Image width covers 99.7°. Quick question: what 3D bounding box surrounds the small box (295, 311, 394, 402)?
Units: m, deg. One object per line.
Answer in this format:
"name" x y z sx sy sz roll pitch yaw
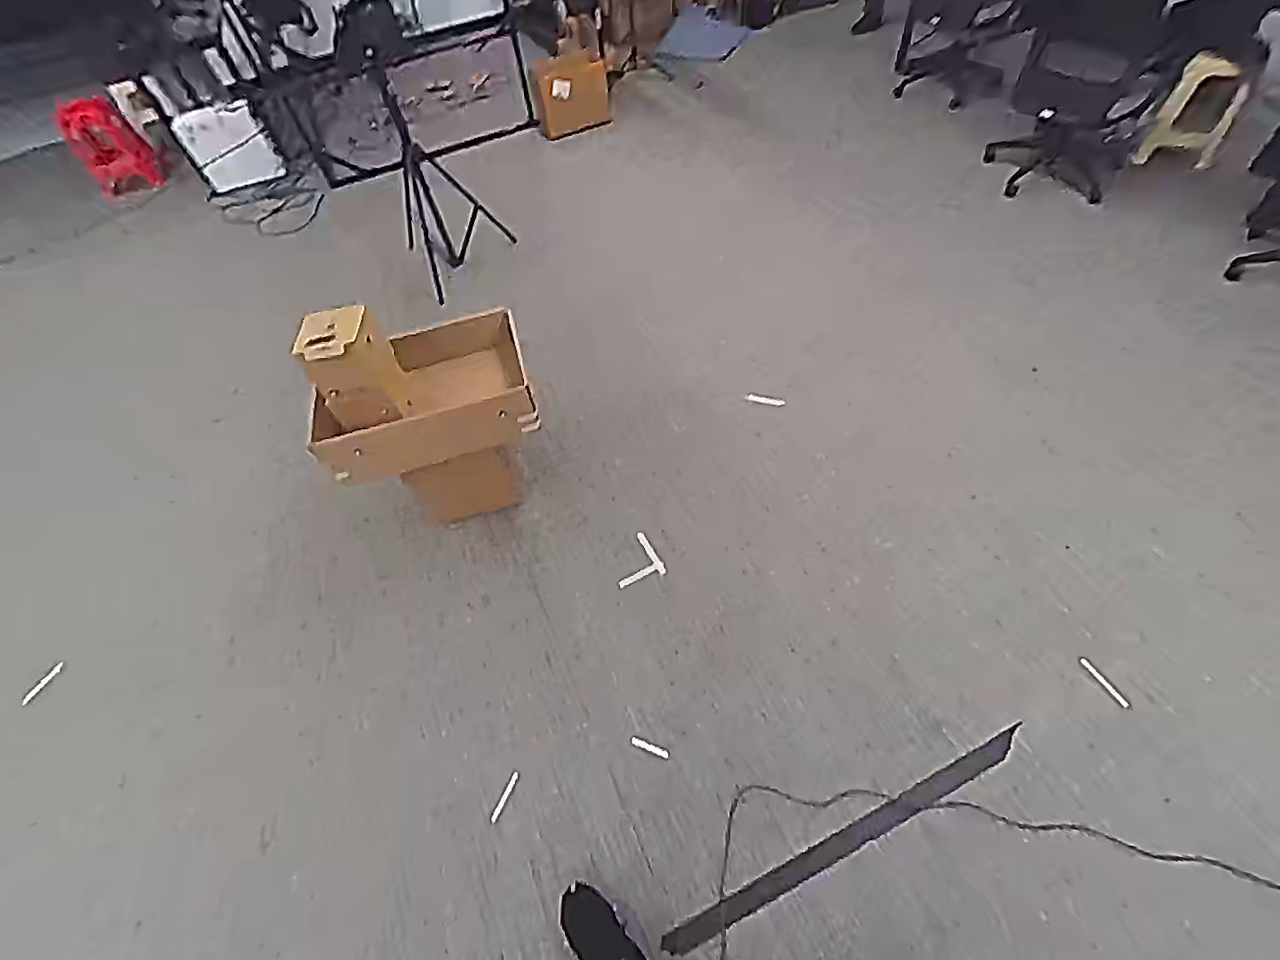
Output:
"small box" -0.802 -0.332 1.488 0.168 0.176 0.179 -11 52 -1
